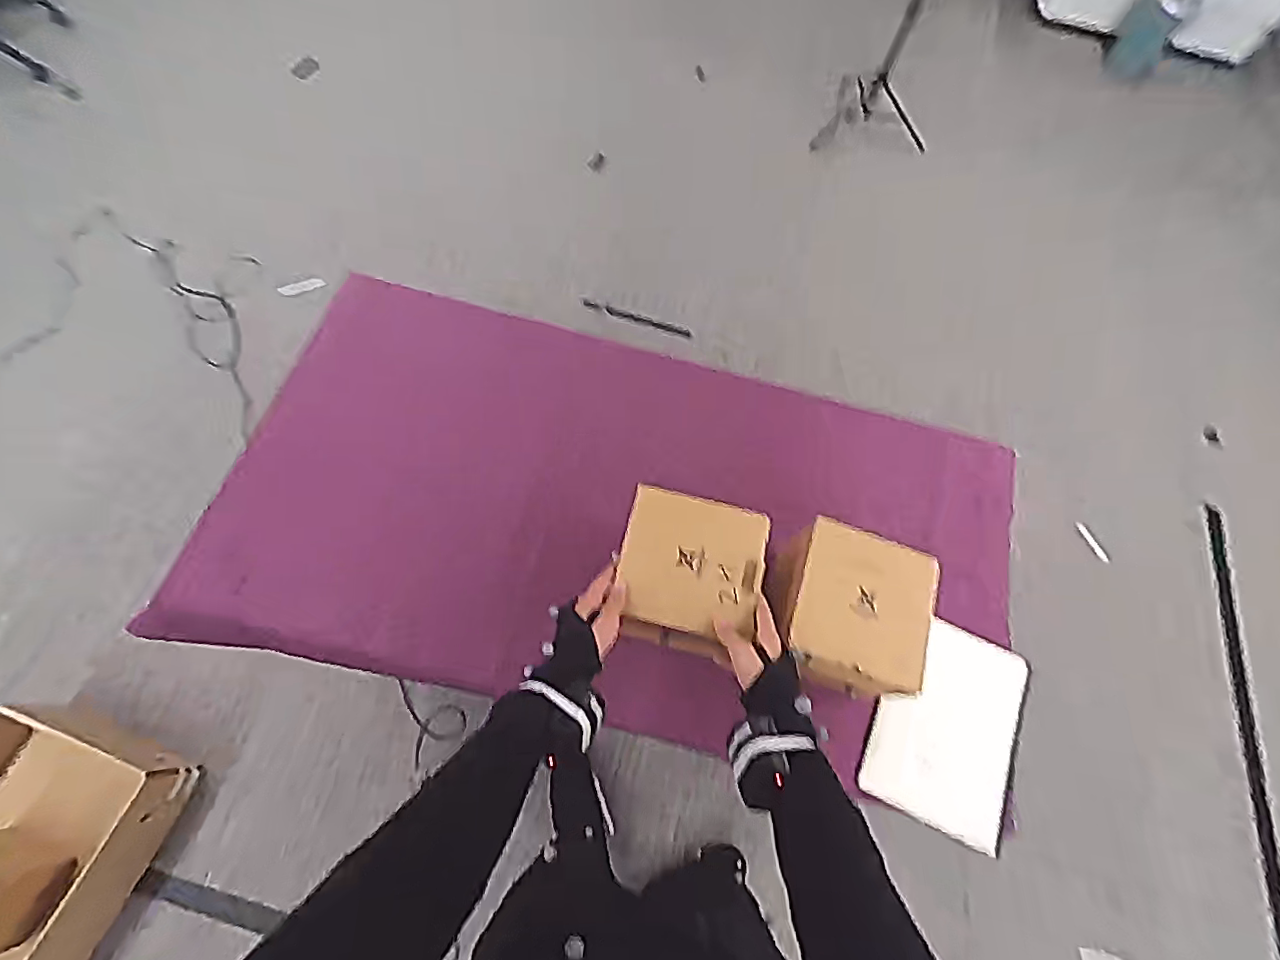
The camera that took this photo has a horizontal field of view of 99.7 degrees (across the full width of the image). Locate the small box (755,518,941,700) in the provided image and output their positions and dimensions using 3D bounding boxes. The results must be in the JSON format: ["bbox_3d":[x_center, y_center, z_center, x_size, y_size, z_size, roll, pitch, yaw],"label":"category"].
[{"bbox_3d":[0.268,0.181,0.731,0.168,0.176,0.179,22,67,4],"label":"small box"}]
